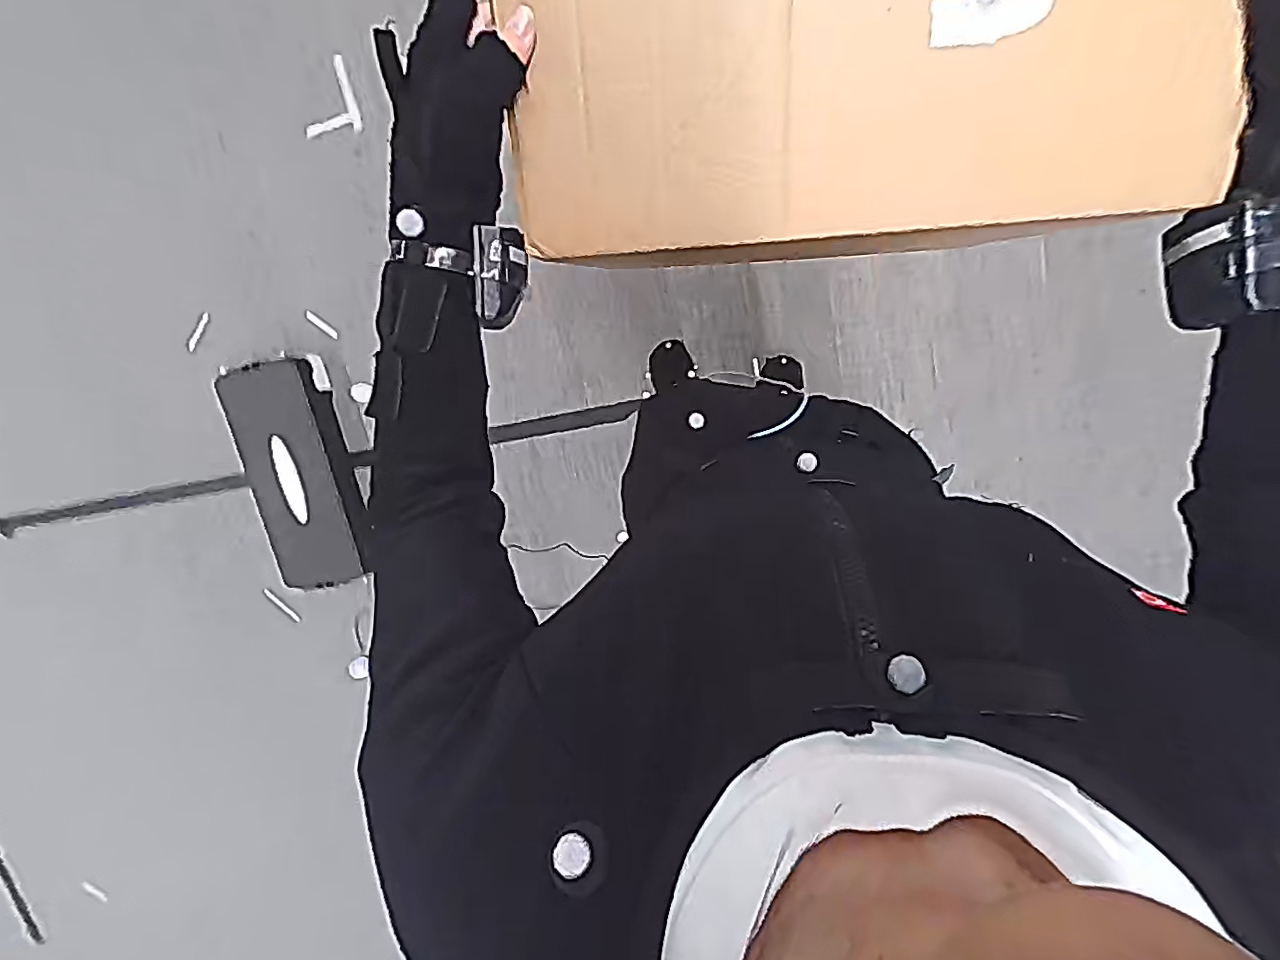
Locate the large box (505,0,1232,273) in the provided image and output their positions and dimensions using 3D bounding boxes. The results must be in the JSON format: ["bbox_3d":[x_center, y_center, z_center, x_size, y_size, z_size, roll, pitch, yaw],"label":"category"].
[{"bbox_3d":[0.129,-0.354,0.435,0.408,0.320,0.320,-2,110,8],"label":"large box"}]
